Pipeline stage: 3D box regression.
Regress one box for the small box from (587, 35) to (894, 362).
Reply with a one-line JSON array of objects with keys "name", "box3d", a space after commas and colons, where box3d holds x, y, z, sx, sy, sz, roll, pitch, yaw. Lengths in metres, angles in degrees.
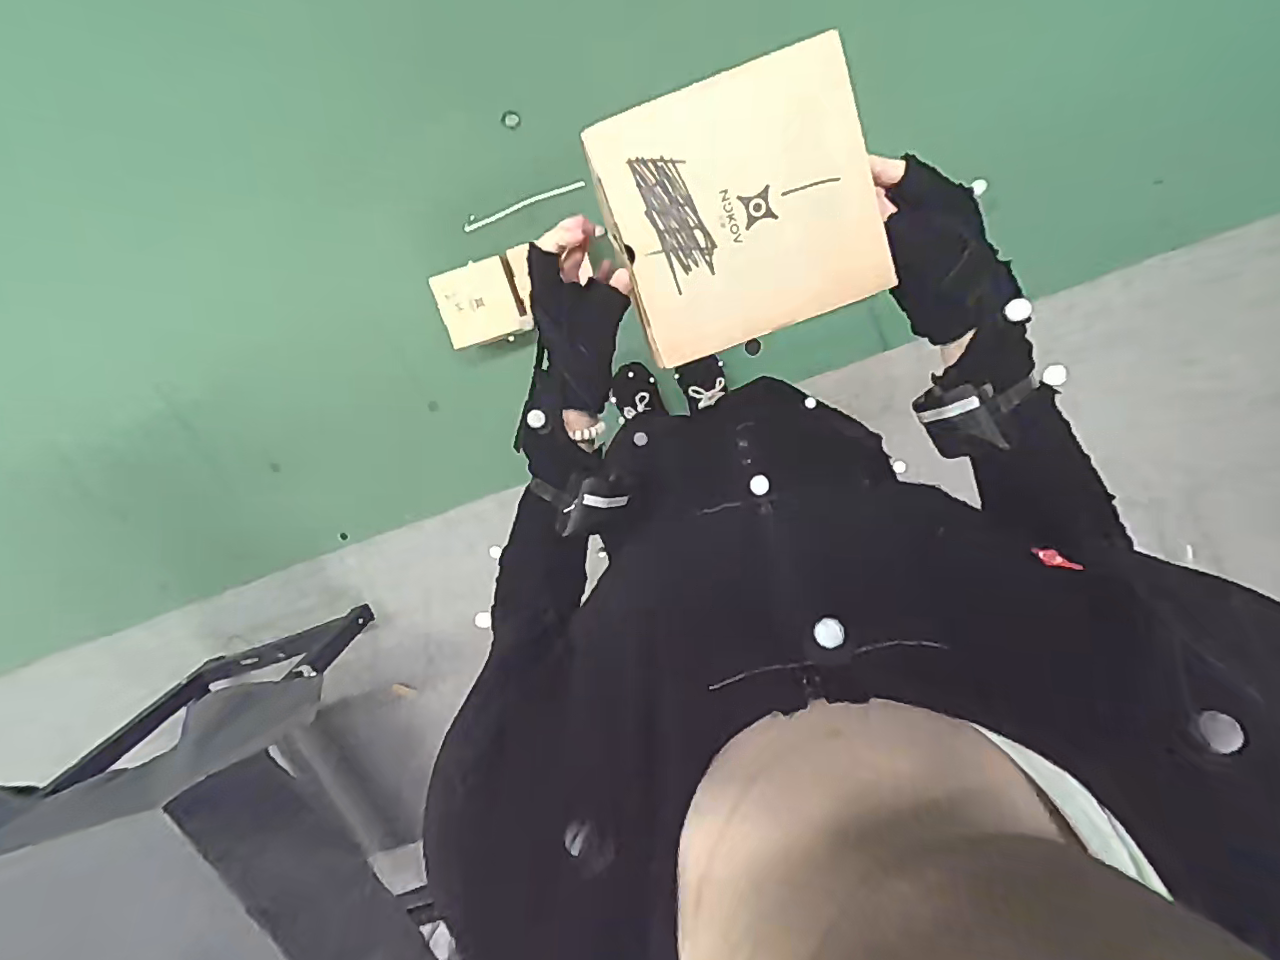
[{"name": "small box", "box3d": [0.071, -0.200, 0.445, 0.179, 0.176, 0.168, -19, 102, 3]}]
